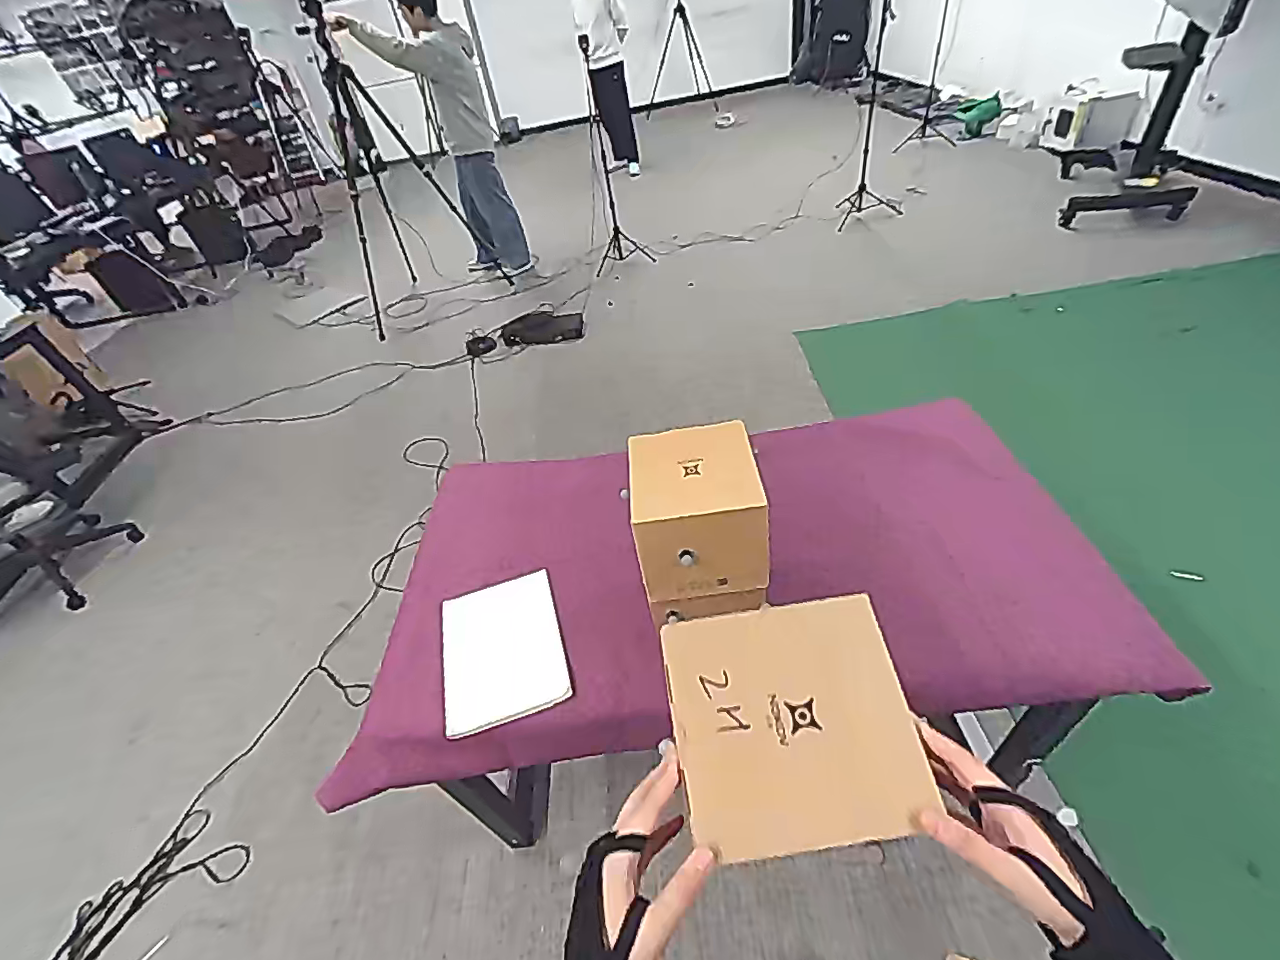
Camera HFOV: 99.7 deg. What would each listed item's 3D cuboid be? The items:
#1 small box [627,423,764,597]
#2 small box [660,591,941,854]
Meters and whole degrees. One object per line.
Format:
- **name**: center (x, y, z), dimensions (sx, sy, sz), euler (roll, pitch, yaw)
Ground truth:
- **small box**: center (0.077, 0.048, 0.756), dimensions (0.168, 0.176, 0.179), euler (-8, 40, 4)
- **small box**: center (0.115, 0.211, 0.472), dimensions (0.179, 0.176, 0.168), euler (-8, 59, 0)
